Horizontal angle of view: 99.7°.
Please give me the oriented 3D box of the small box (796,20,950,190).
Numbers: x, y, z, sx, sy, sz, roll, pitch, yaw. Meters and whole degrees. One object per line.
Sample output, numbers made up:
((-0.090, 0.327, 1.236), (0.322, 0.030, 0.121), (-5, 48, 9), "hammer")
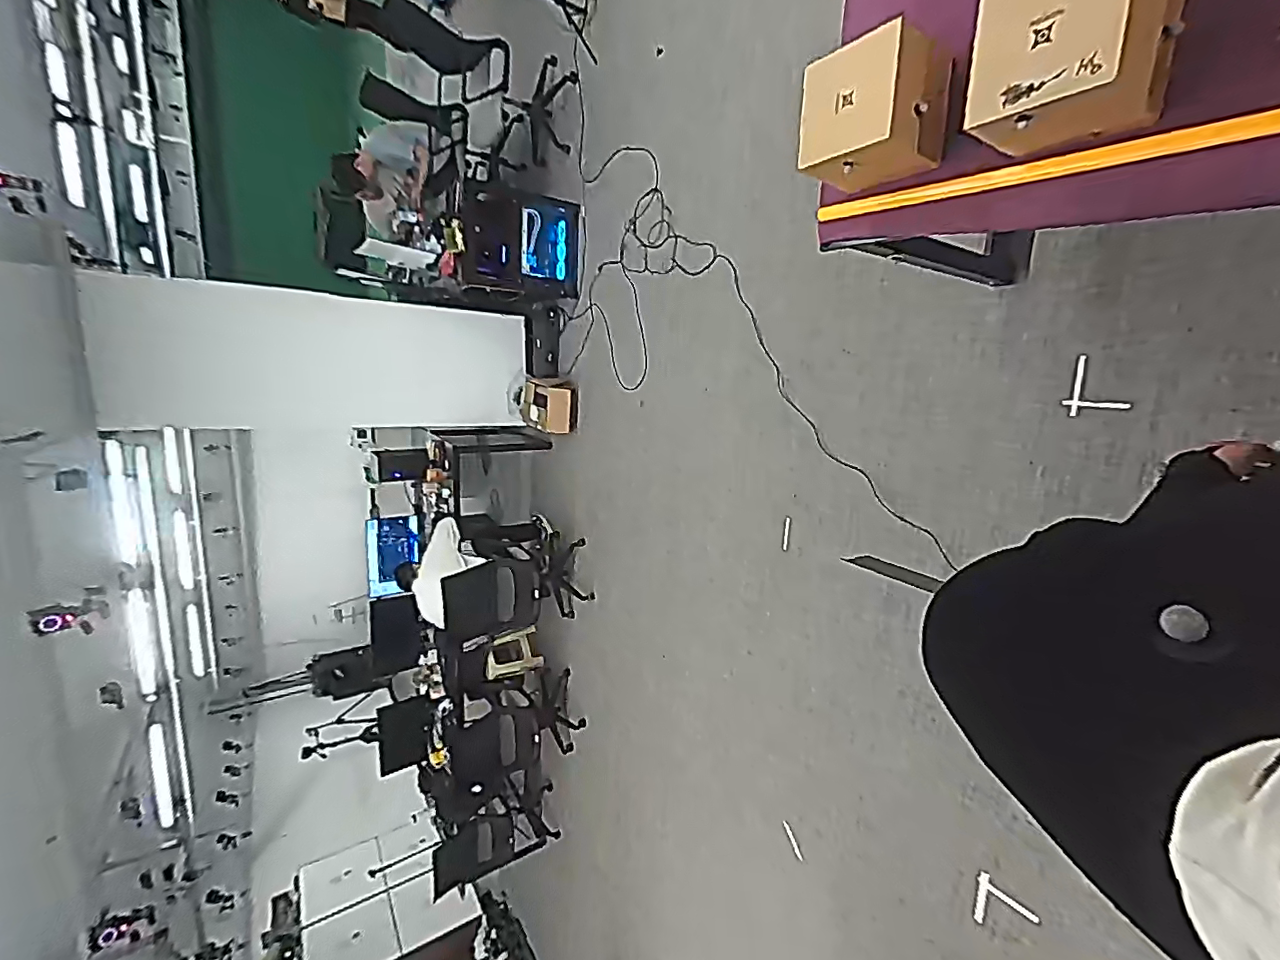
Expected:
((0.392, -0.614, 0.913), (0.179, 0.176, 0.168), (17, 108, 54), "small box")

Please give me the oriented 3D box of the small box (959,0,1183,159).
((0.547, -0.545, 0.689), (0.168, 0.176, 0.179), (20, 111, 55), "small box")
